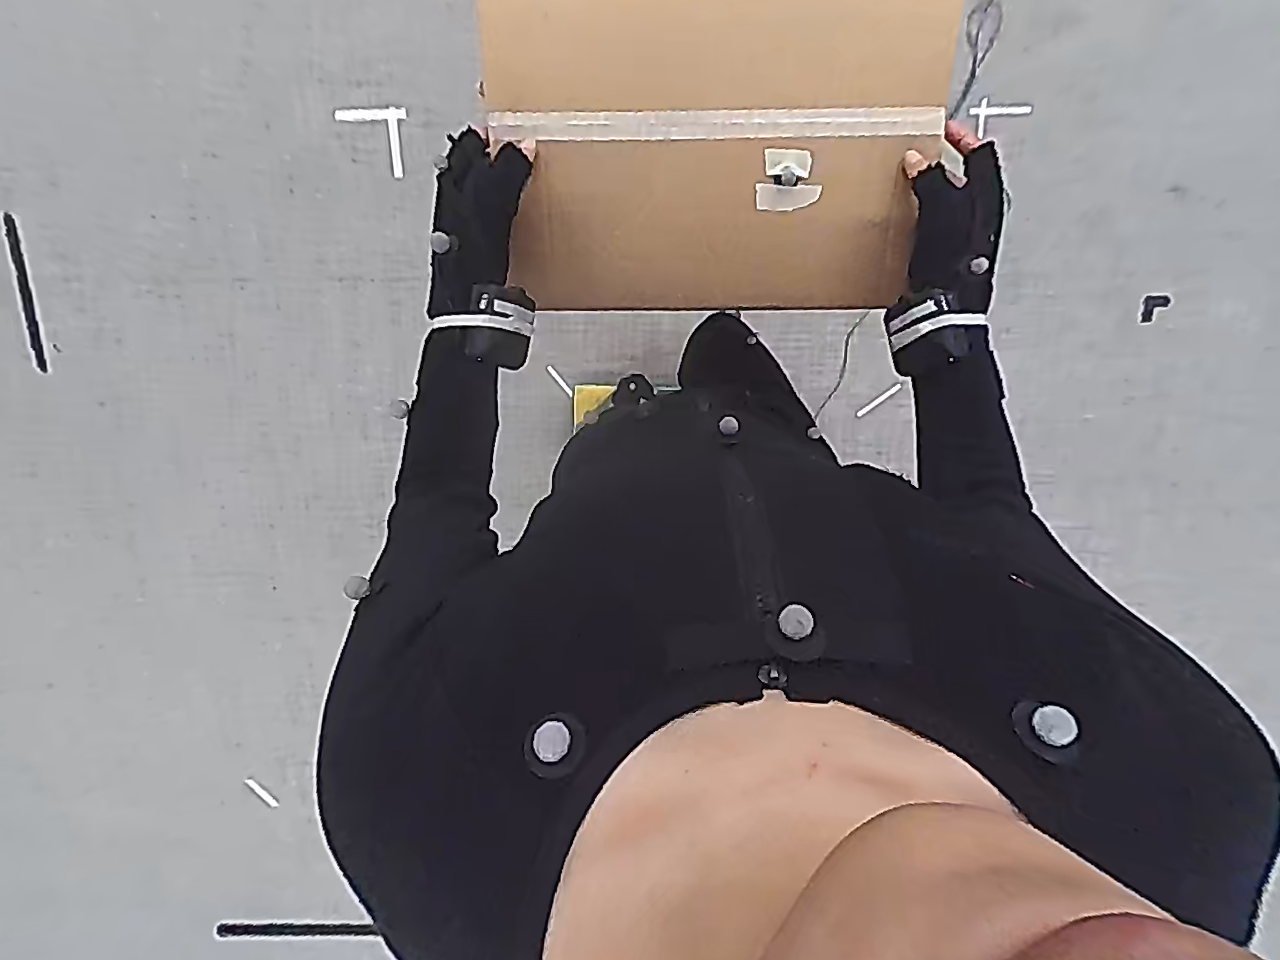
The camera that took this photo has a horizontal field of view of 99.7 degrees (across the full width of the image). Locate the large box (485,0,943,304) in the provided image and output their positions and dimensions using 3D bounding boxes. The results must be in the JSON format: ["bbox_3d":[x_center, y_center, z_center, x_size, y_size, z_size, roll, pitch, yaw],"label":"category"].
[{"bbox_3d":[0.064,-0.380,0.637,0.408,0.320,0.320,-1,110,0],"label":"large box"}]
